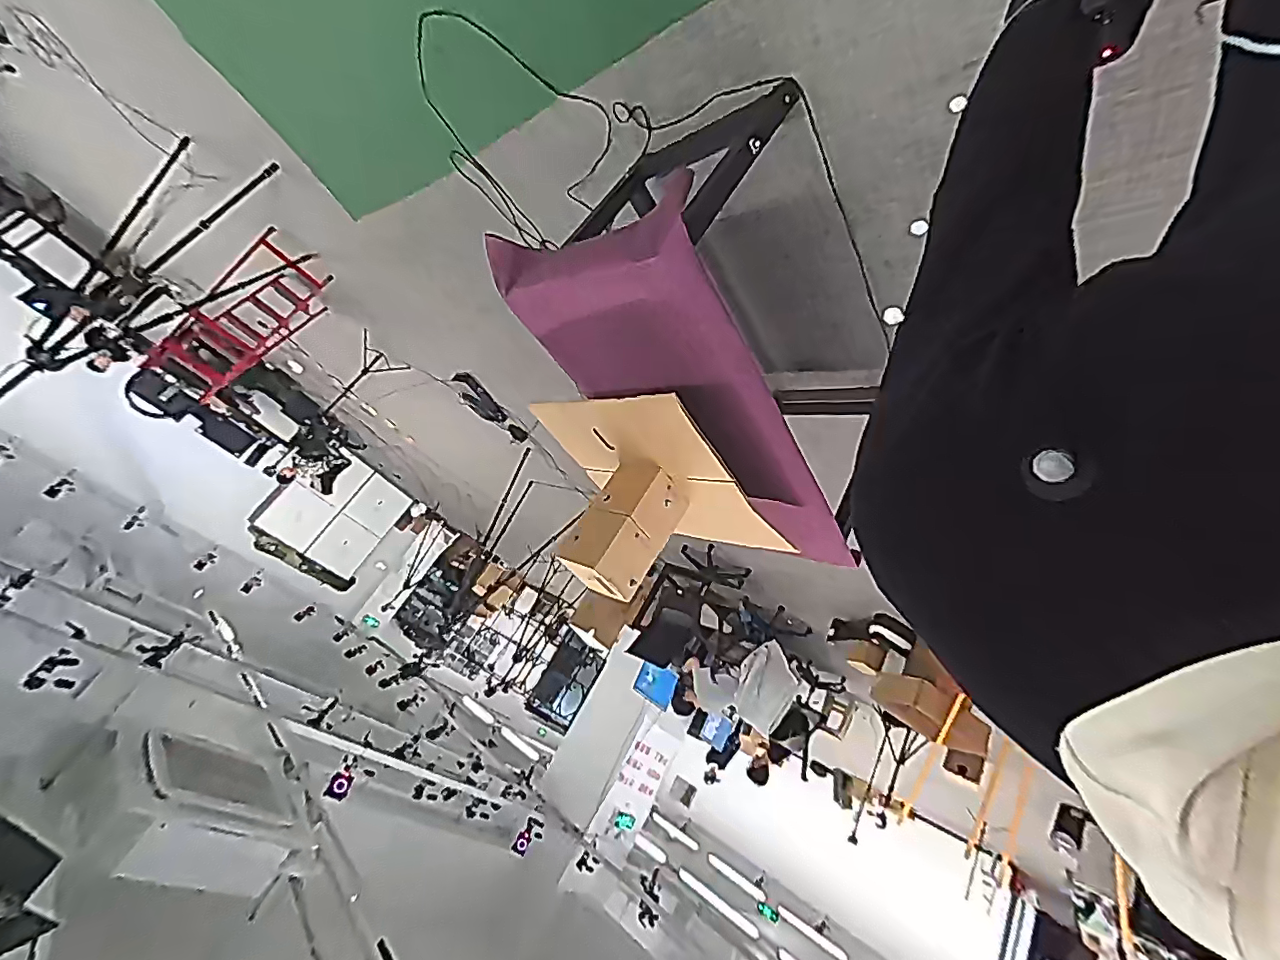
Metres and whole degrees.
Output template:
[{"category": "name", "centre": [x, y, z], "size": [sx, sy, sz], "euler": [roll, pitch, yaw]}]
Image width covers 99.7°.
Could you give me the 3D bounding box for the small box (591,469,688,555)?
[{"category": "small box", "centre": [0.004, 0.085, 1.524], "size": [0.179, 0.176, 0.168], "euler": [6, 144, 45]}]
